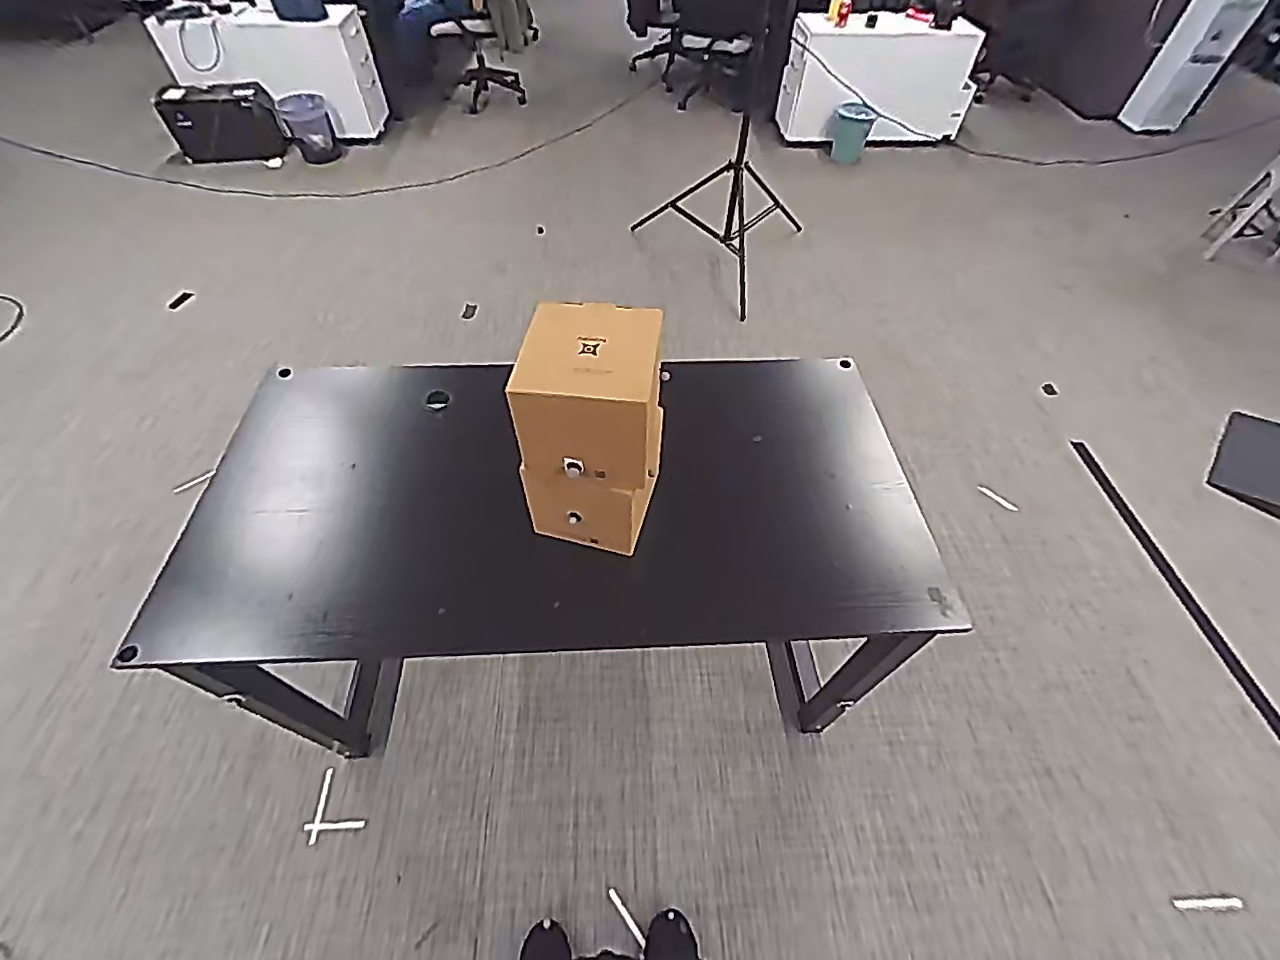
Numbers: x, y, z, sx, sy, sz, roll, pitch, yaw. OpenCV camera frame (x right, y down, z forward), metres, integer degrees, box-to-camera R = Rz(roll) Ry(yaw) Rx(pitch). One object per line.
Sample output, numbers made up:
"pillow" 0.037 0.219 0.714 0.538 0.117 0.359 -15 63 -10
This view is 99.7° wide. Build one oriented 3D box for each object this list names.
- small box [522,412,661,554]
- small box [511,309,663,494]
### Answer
"small box" -0.068 -0.007 0.860 0.168 0.176 0.179 13 53 8
"small box" -0.060 -0.105 0.730 0.168 0.176 0.179 5 53 4
